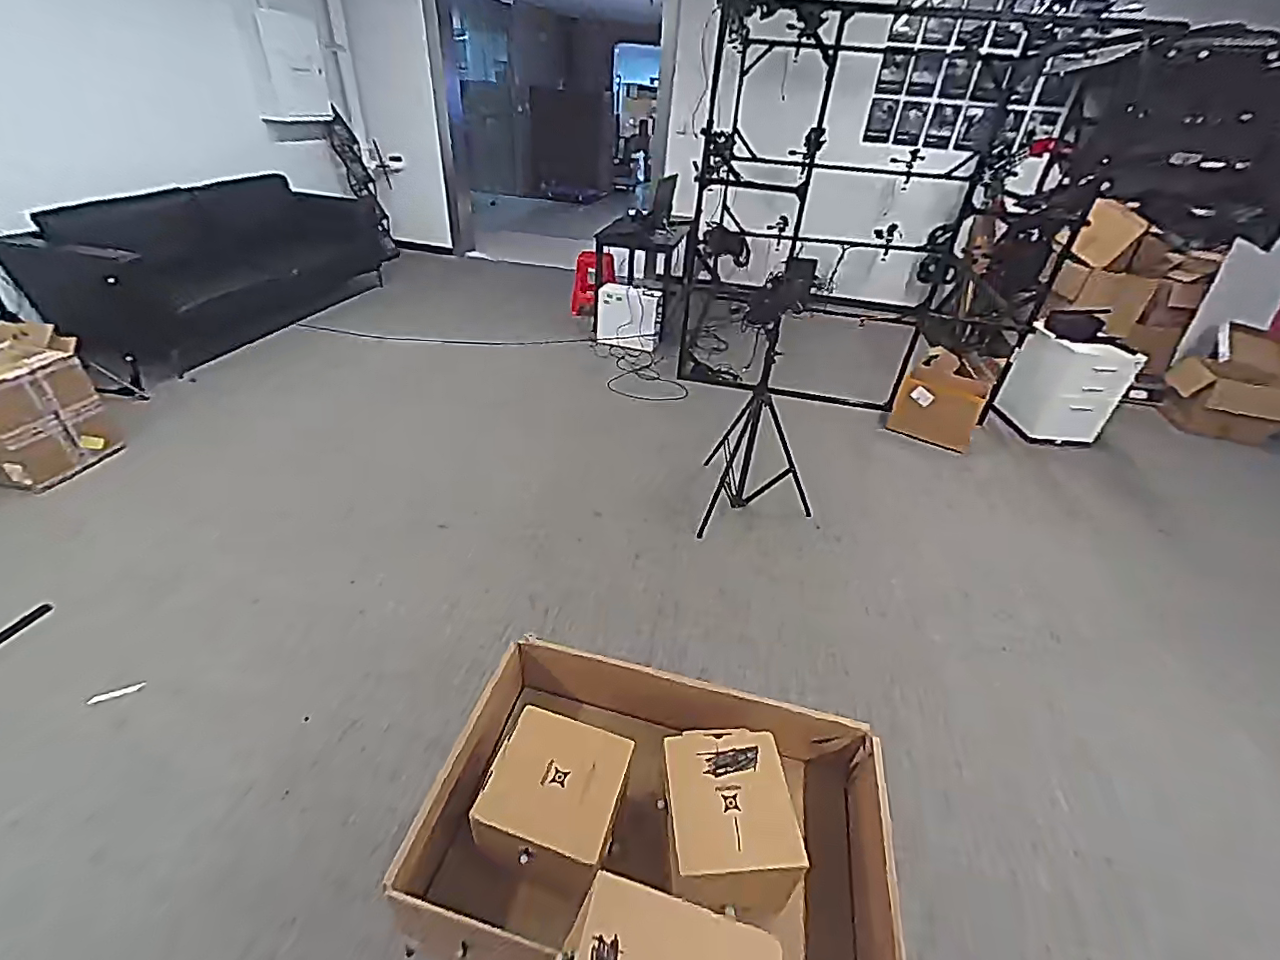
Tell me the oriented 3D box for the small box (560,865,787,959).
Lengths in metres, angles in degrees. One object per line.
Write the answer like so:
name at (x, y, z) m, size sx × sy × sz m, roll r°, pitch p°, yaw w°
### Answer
small box at (0.009, 0.477, 0.455) m, size 0.179 × 0.176 × 0.168 m, roll 19°, pitch 31°, yaw 4°
